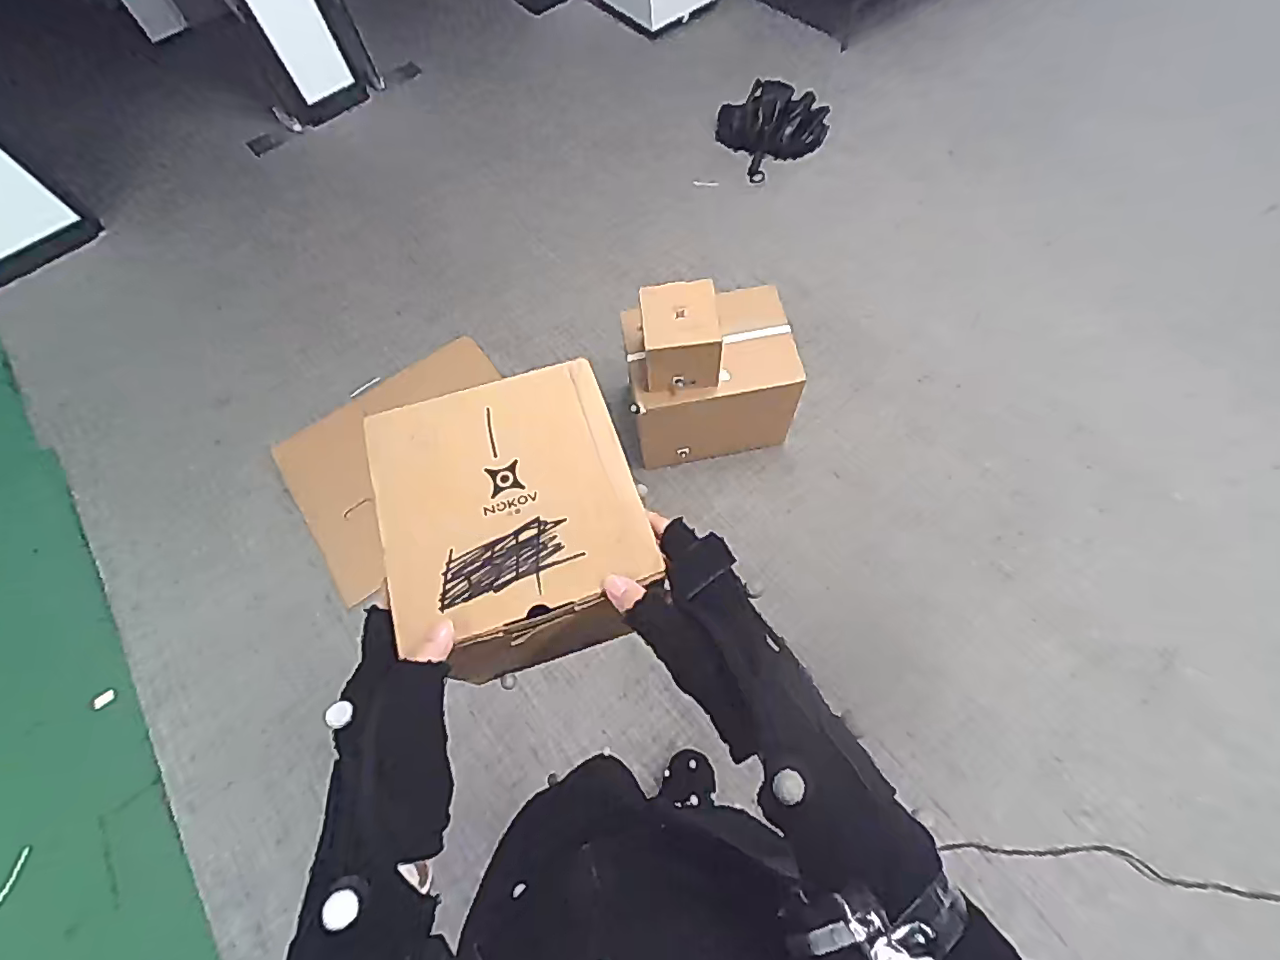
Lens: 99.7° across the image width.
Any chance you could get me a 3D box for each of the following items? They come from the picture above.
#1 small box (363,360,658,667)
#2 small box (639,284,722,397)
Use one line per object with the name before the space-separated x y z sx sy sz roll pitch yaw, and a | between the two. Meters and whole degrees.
small box | -0.091 0.040 0.440 0.168 0.176 0.179 -20 68 -8
small box | 0.090 -0.316 1.242 0.168 0.176 0.179 -7 66 2
